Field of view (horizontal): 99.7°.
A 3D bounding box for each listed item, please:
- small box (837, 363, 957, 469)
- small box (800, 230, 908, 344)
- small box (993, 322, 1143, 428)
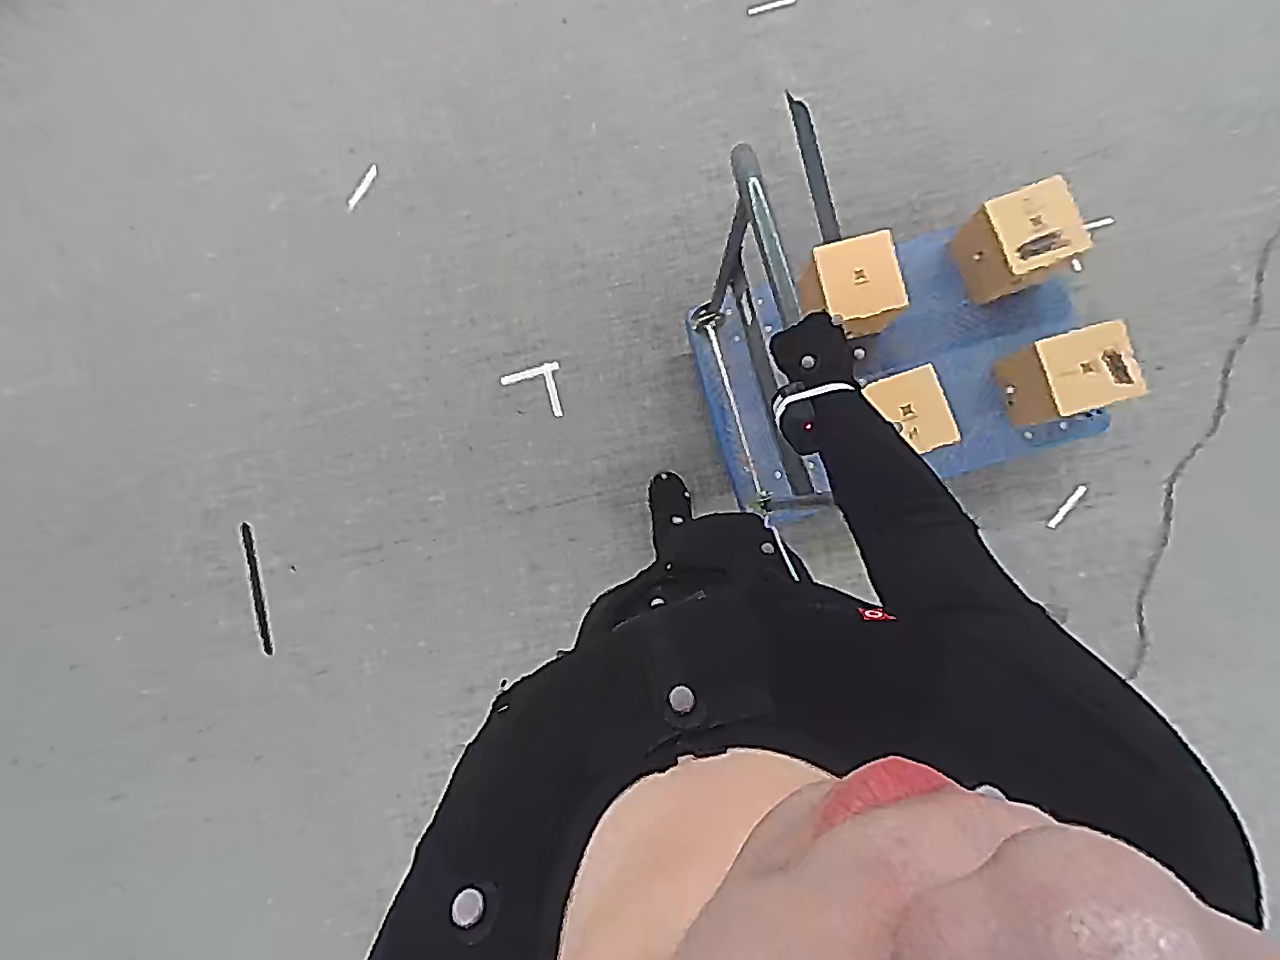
[{"bbox_3d":[0.562,-0.135,1.210,0.168,0.176,0.179,-18,85,4],"label":"small box"},{"bbox_3d":[0.478,-0.433,1.236,0.168,0.176,0.179,-13,87,3],"label":"small box"},{"bbox_3d":[0.923,-0.222,1.183,0.179,0.176,0.168,-15,85,5],"label":"small box"}]
